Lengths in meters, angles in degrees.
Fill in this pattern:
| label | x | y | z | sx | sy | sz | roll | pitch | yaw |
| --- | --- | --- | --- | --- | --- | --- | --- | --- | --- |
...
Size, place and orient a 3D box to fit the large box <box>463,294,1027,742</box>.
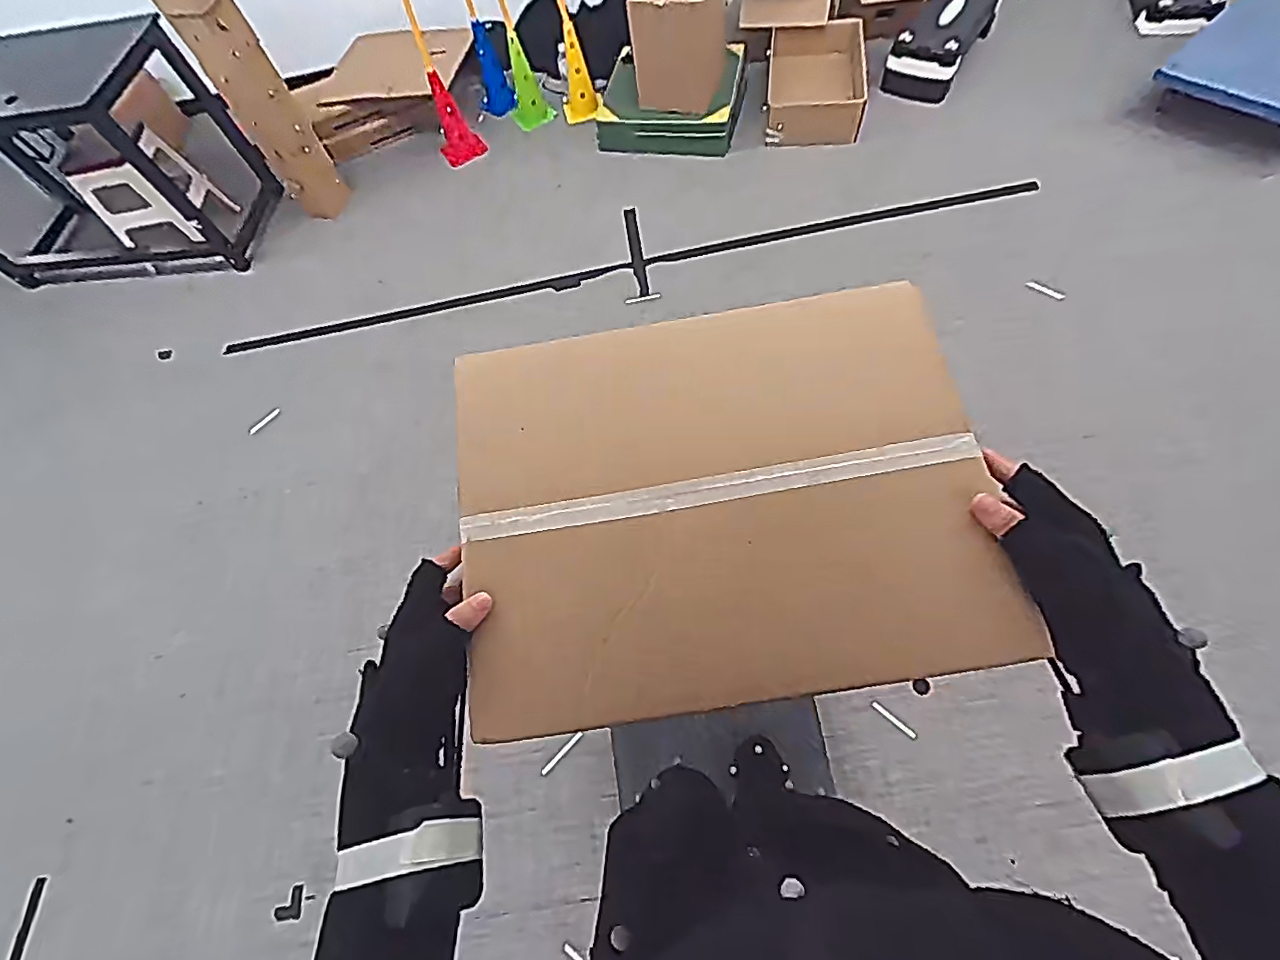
| label | x | y | z | sx | sy | sz | roll | pitch | yaw |
| --- | --- | --- | --- | --- | --- | --- | --- | --- | --- |
| large box | 0.072 | 0.055 | 0.574 | 0.408 | 0.320 | 0.320 | -9 | 71 | 1 |
